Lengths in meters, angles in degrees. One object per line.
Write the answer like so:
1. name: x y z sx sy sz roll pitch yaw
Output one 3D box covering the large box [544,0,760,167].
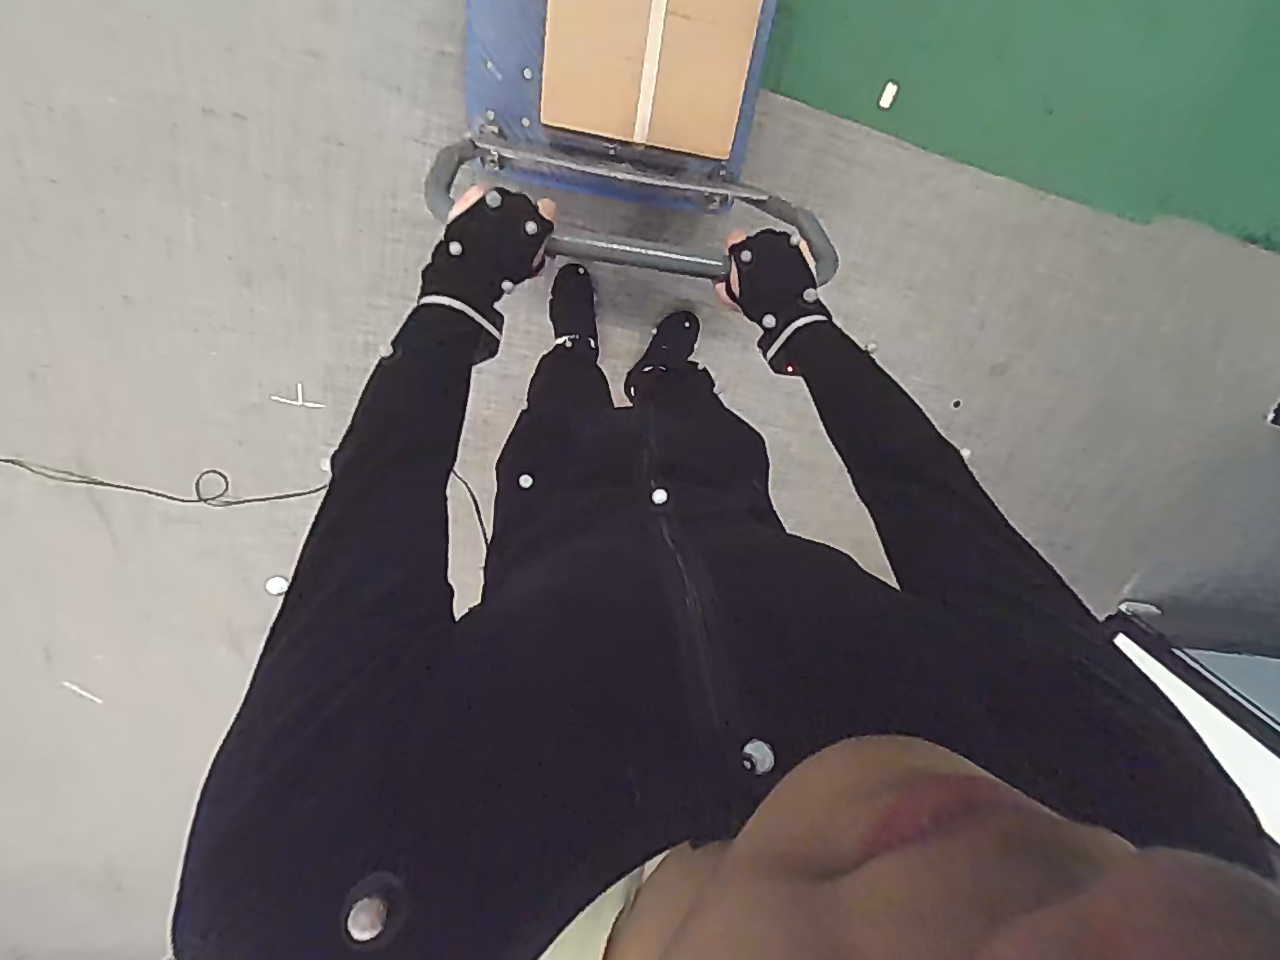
1. large box: 0.009 -0.781 0.915 0.320 0.320 0.408 4 119 -11
